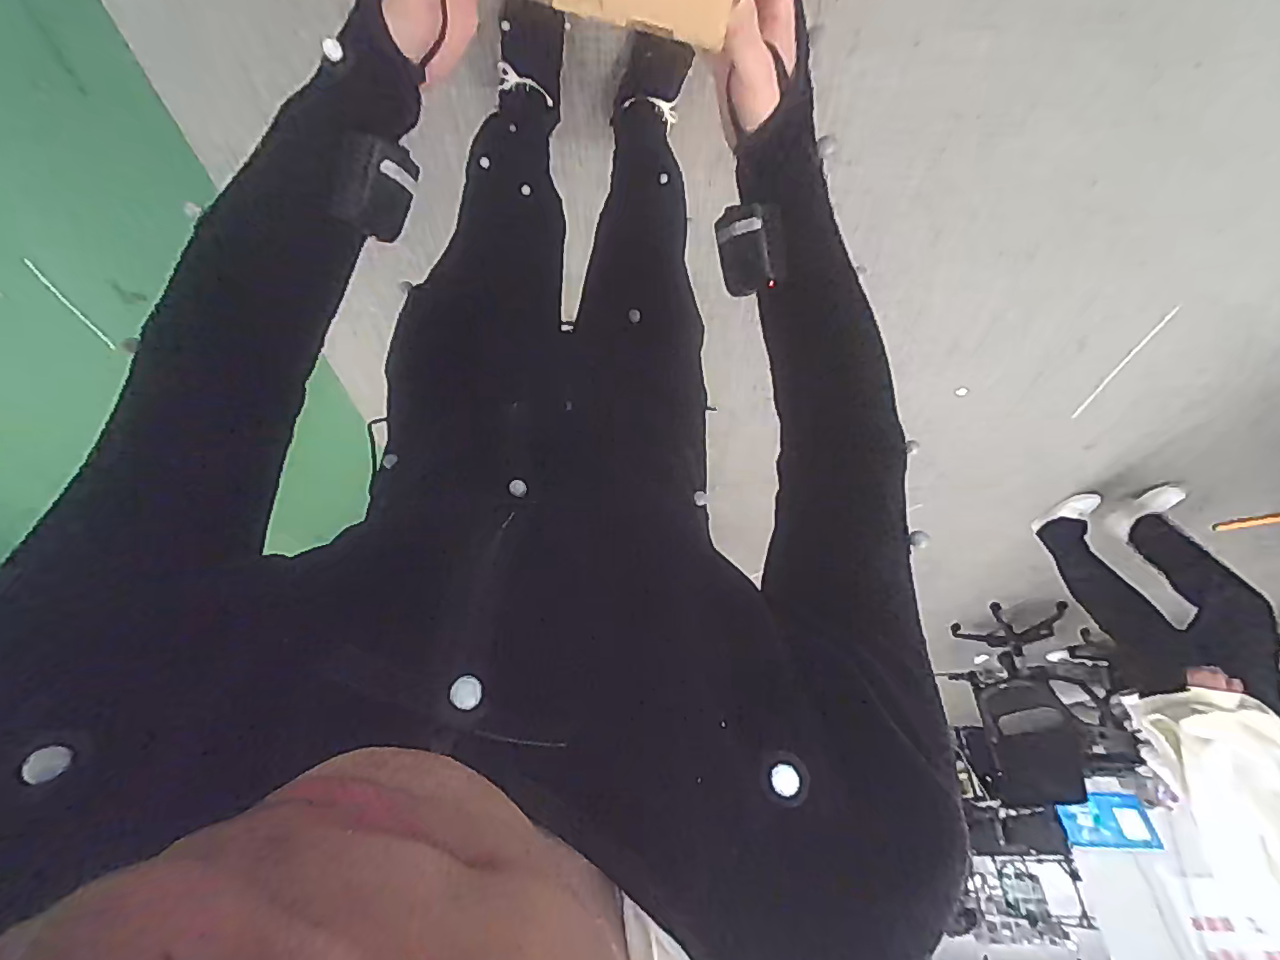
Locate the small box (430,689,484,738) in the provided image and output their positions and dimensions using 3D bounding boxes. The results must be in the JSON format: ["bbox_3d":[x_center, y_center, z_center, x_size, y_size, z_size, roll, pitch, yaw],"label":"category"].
[{"bbox_3d":[-0.784,1.009,2.337,0.168,0.176,0.179,1,146,0],"label":"small box"}]

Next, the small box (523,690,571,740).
[{"bbox_3d":[-0.395,1.012,2.326,0.168,0.176,0.179,0,145,2],"label":"small box"}]
